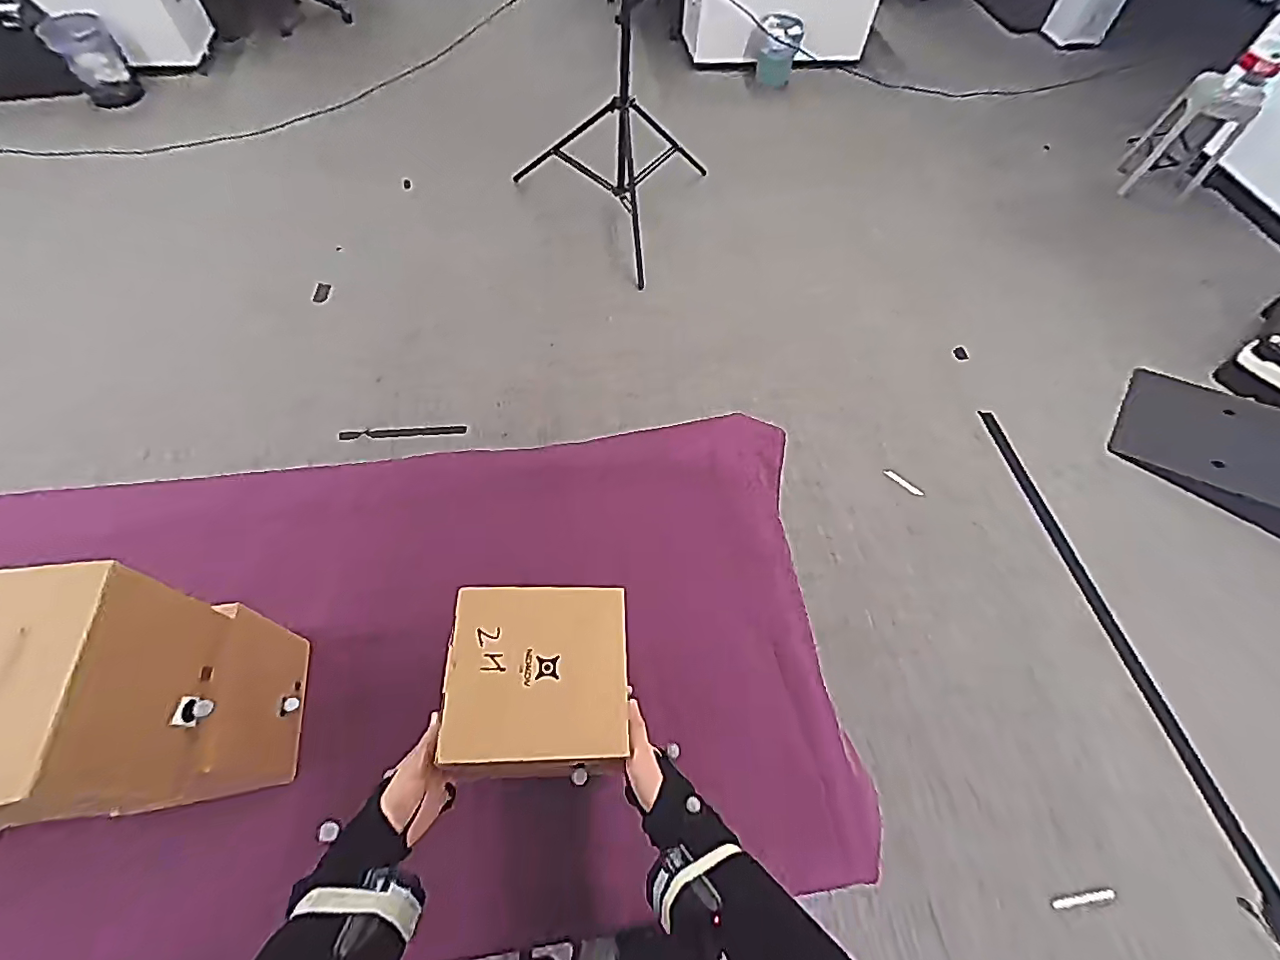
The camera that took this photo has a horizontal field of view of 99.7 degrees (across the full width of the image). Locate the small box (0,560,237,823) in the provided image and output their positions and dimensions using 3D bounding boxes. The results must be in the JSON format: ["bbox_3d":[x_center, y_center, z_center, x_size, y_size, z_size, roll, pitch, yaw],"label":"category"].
[{"bbox_3d":[-0.487,0.180,0.445,0.179,0.176,0.168,-5,61,-8],"label":"small box"}]

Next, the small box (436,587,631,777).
[{"bbox_3d":[-0.107,0.227,0.595,0.179,0.176,0.168,2,57,-7],"label":"small box"}]

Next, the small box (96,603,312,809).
[{"bbox_3d":[-0.497,0.251,0.590,0.179,0.176,0.168,-7,60,-9],"label":"small box"}]
